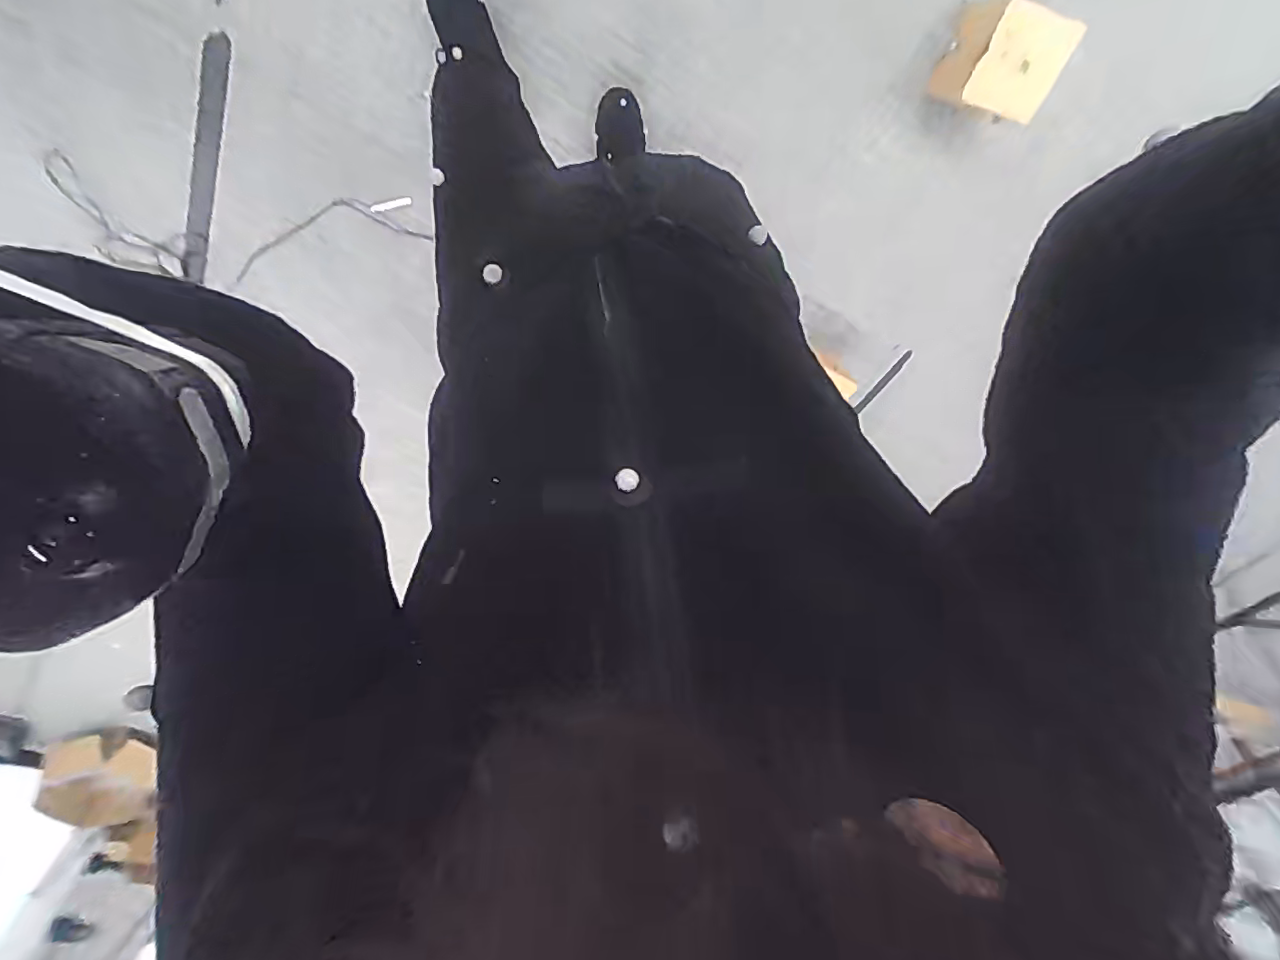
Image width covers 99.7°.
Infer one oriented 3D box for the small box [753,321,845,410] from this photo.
[{"bbox_3d":[0.457,-0.343,1.592,0.179,0.176,0.168,20,126,-22],"label":"small box"}]
